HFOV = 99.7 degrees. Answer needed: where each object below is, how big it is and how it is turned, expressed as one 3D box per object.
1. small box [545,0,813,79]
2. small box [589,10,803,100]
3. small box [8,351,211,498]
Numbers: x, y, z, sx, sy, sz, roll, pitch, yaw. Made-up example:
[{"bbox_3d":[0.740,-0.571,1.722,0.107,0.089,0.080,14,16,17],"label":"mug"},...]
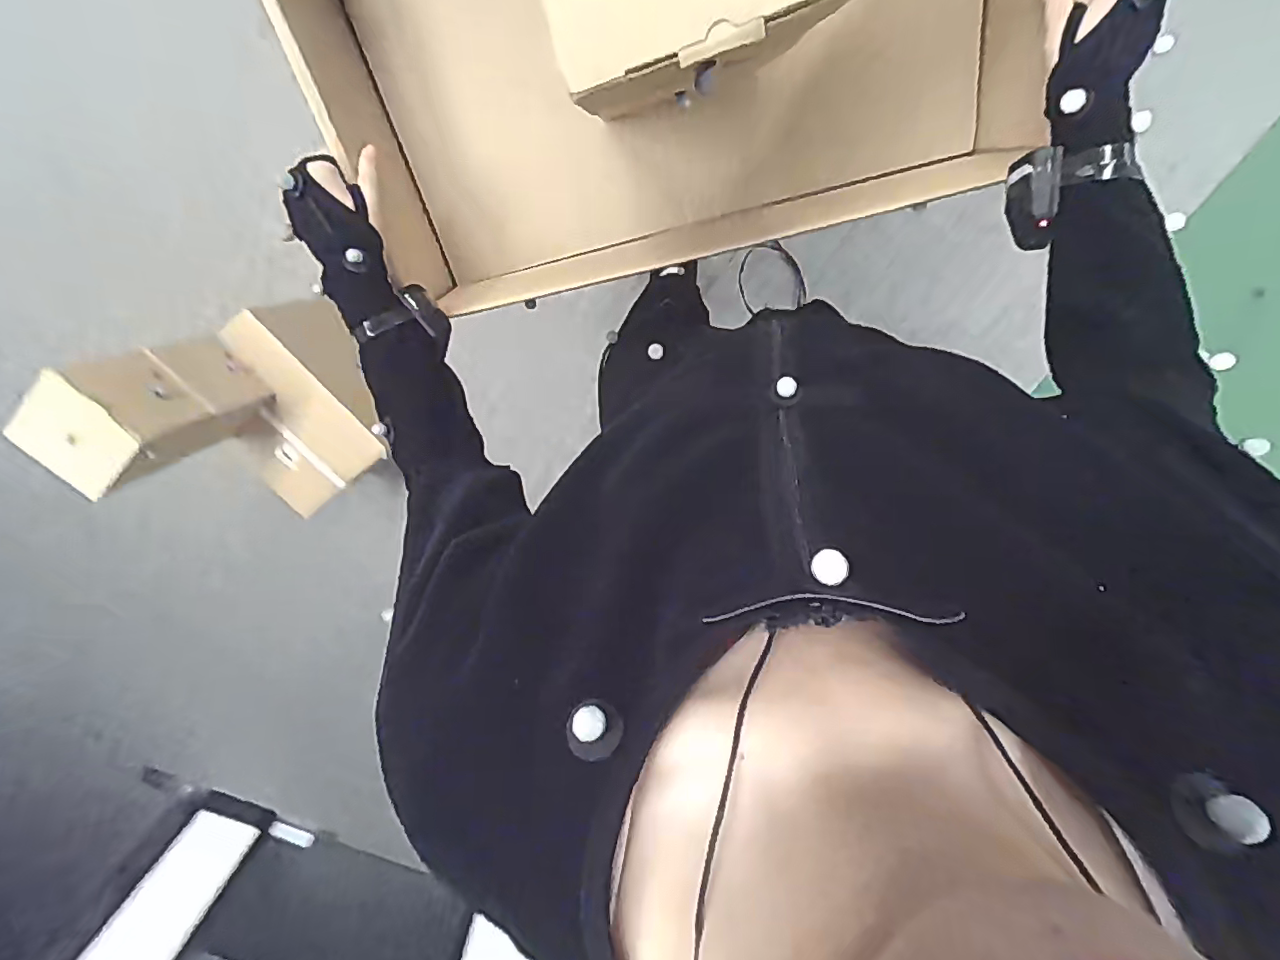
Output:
[{"bbox_3d":[0.017,-0.343,0.291,0.168,0.176,0.179,-14,121,8],"label":"small box"},{"bbox_3d":[0.022,-0.431,0.430,0.168,0.176,0.179,-11,121,8],"label":"small box"},{"bbox_3d":[-0.935,-0.105,0.971,0.179,0.176,0.168,-39,107,17],"label":"small box"}]
